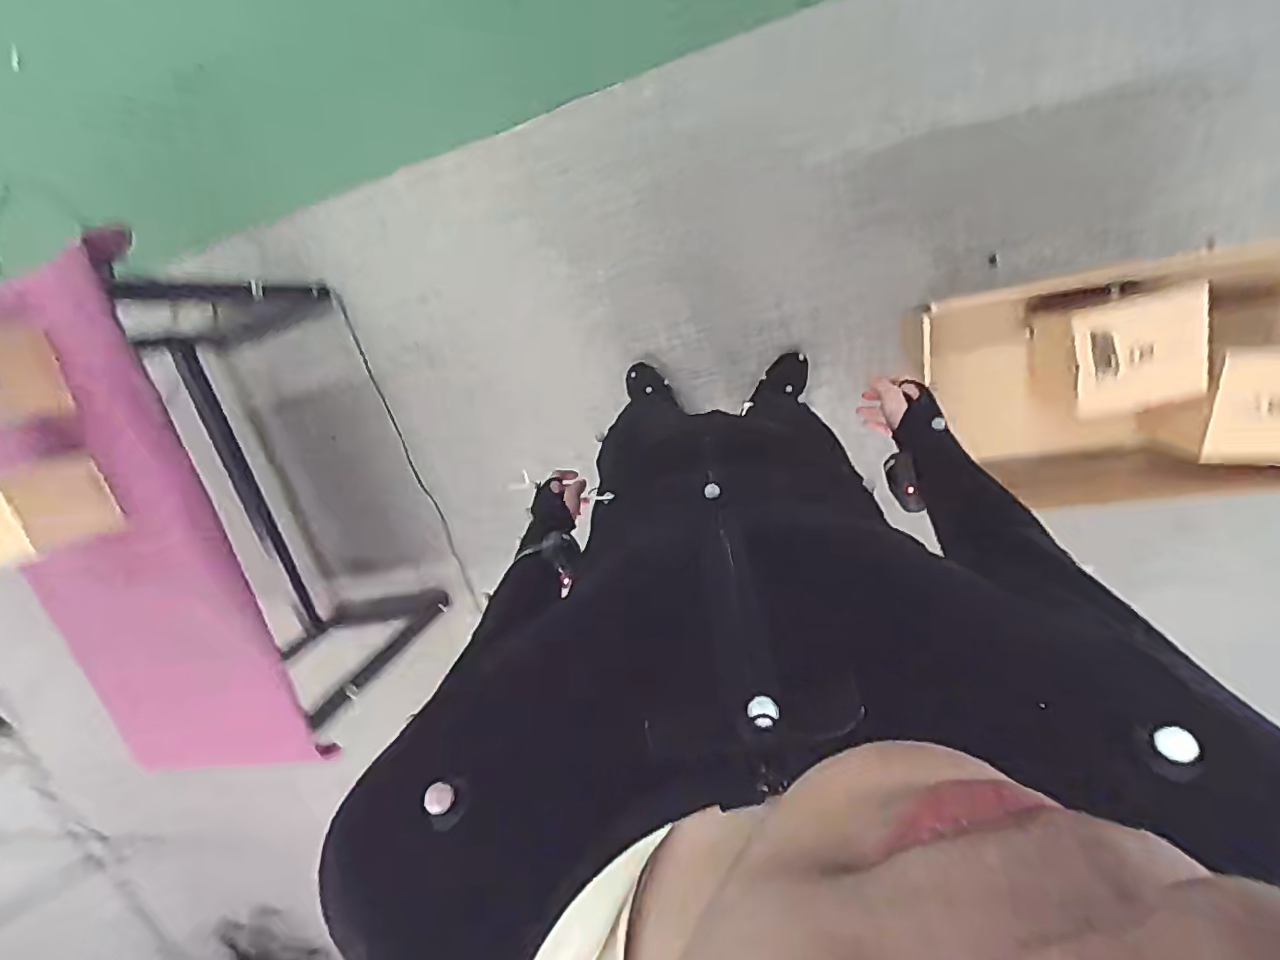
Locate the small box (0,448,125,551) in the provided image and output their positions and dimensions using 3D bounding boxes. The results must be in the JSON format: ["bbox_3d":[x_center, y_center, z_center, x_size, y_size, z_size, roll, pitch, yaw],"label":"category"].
[{"bbox_3d":[-1.276,0.040,1.154,0.179,0.176,0.168,-10,106,16],"label":"small box"}]
